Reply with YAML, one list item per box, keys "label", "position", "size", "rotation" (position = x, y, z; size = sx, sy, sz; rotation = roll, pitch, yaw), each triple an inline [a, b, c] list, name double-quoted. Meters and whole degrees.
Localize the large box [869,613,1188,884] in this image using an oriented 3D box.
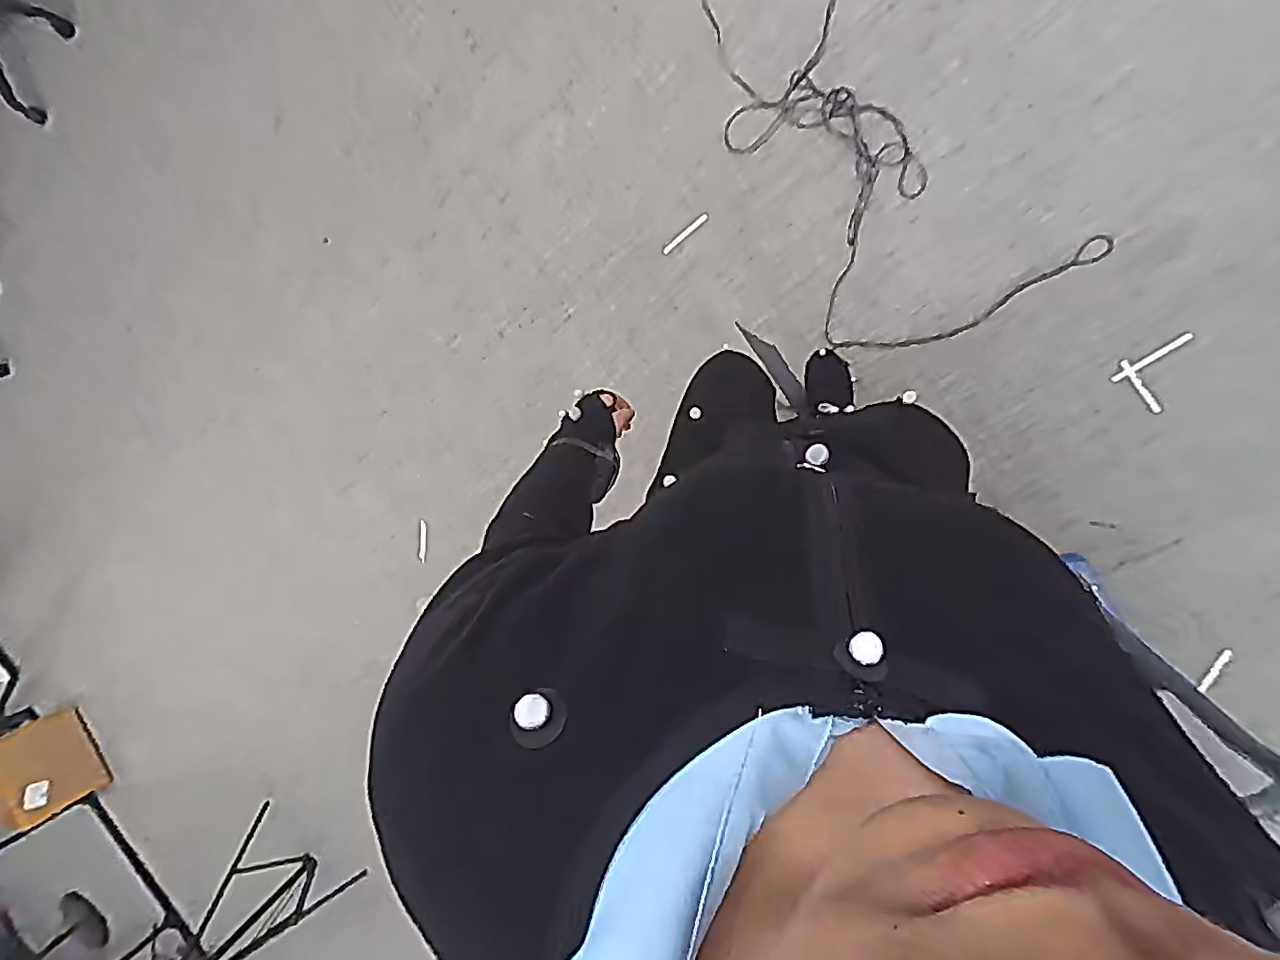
- label: "large box"
  position: [0.750, 0.543, 1.129]
  size: [0.408, 0.320, 0.320]
  rotation: [-32, 90, 23]
